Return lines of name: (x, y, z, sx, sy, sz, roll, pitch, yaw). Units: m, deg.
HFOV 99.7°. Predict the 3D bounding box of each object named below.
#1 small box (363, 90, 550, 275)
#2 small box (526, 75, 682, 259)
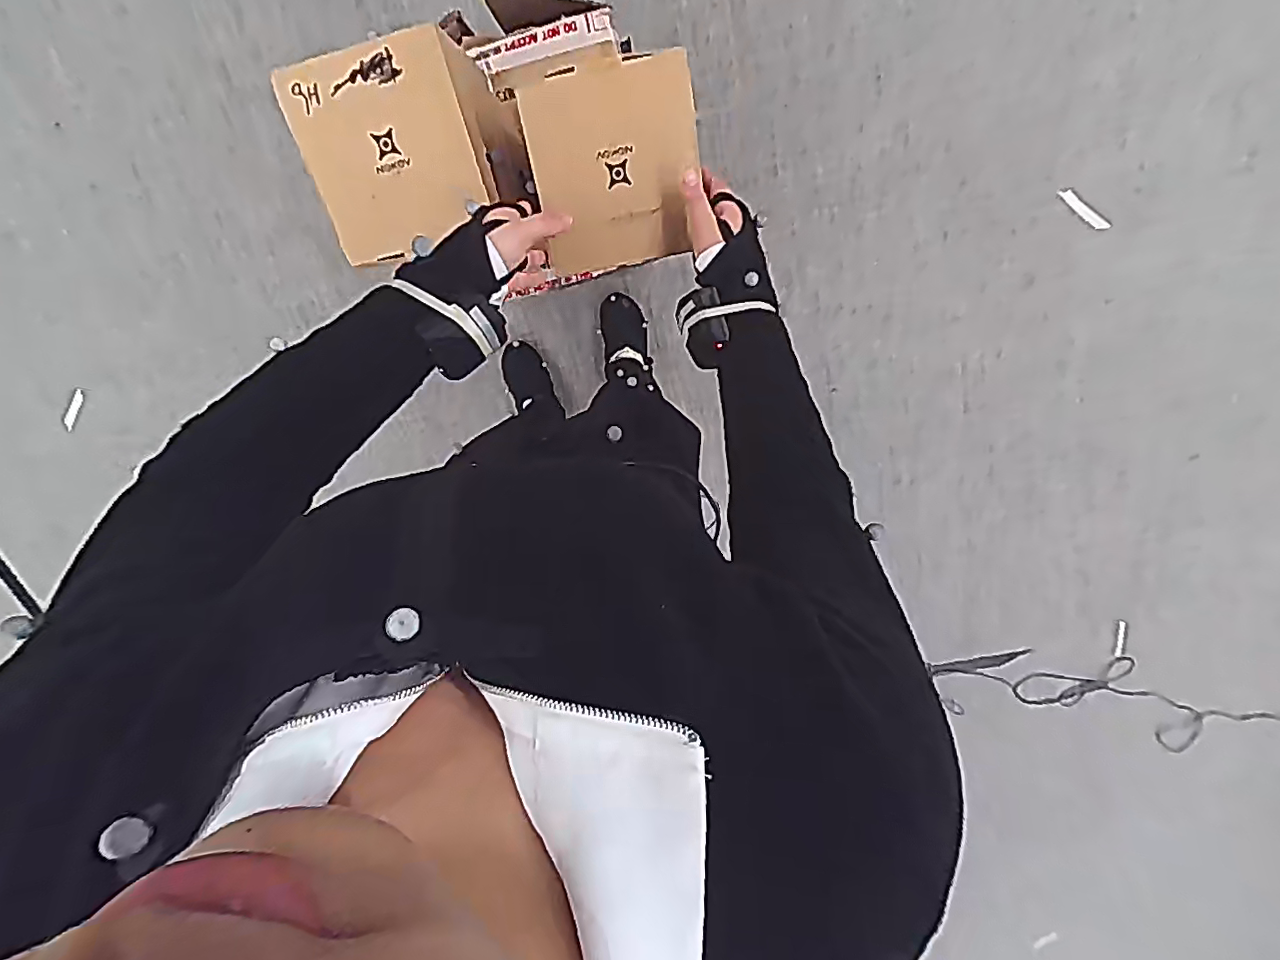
small box: (-0.238, -0.400, 0.752, 0.168, 0.176, 0.179, -14, 115, 7)
small box: (-0.045, -0.415, 0.748, 0.168, 0.176, 0.179, -13, 113, 4)
